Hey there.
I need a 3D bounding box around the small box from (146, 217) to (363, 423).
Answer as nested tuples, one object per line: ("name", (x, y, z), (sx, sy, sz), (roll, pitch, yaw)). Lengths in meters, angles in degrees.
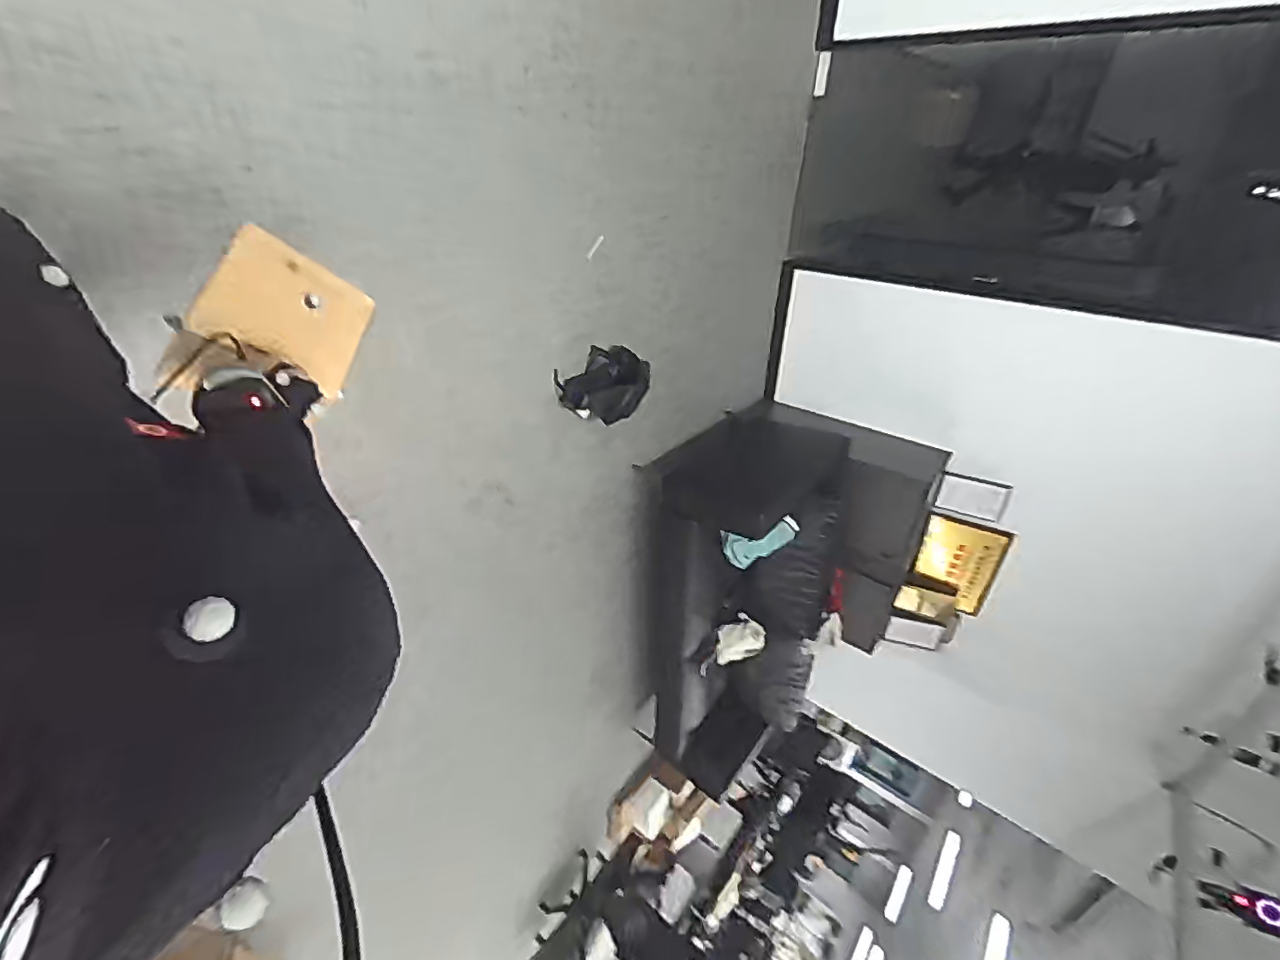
("small box", (-0.501, -0.202, 0.717), (0.168, 0.179, 0.176), (31, 59, -42))
